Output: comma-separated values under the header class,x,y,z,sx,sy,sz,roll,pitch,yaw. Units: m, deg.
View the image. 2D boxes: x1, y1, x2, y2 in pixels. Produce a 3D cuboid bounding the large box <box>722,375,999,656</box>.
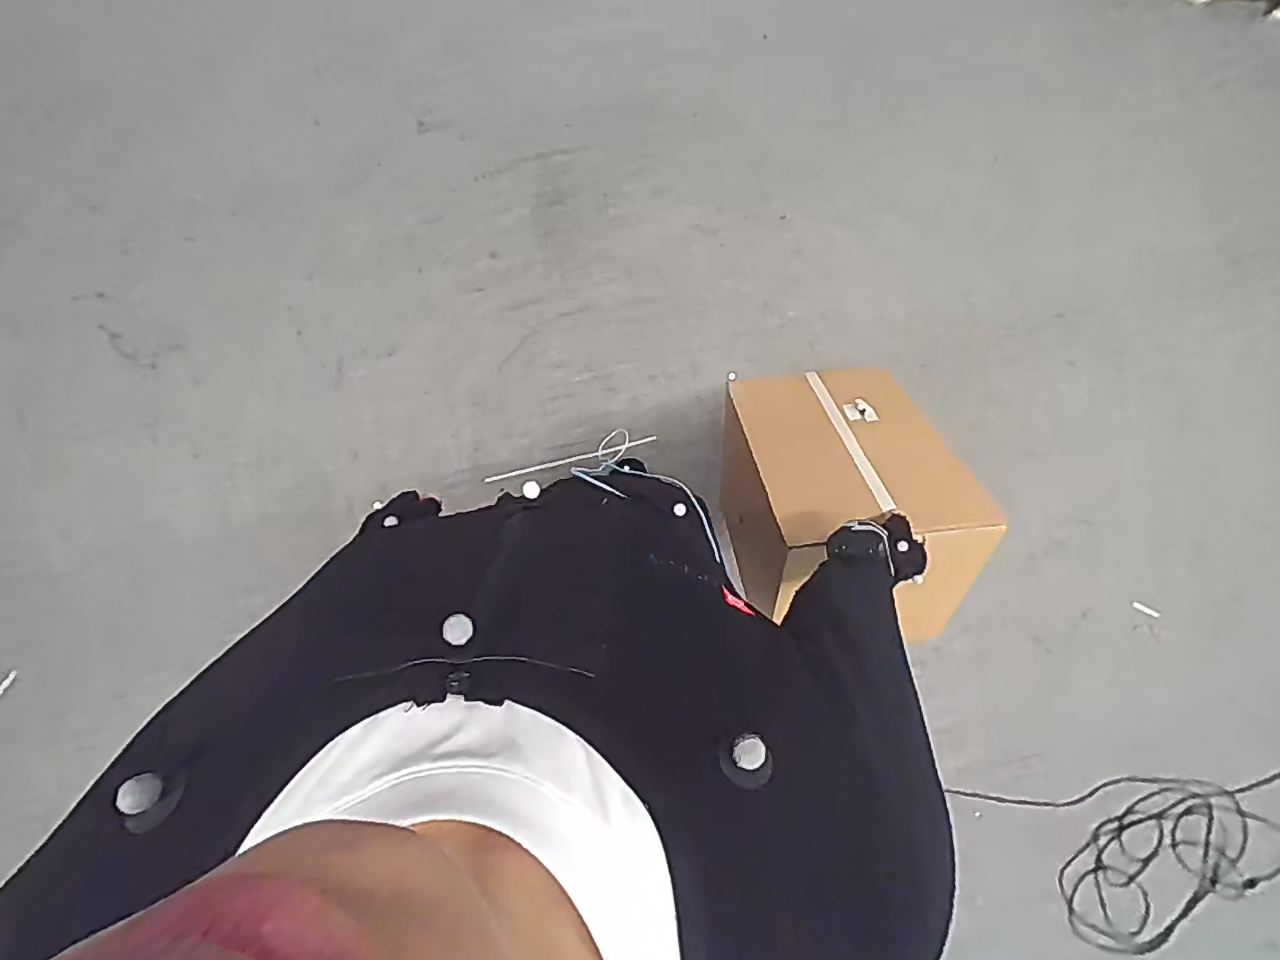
class,x,y,z,sx,sy,sz,roll,pitch,yaw
large box,0.346,0.056,0.997,0.320,0.408,0.320,-5,134,-2
